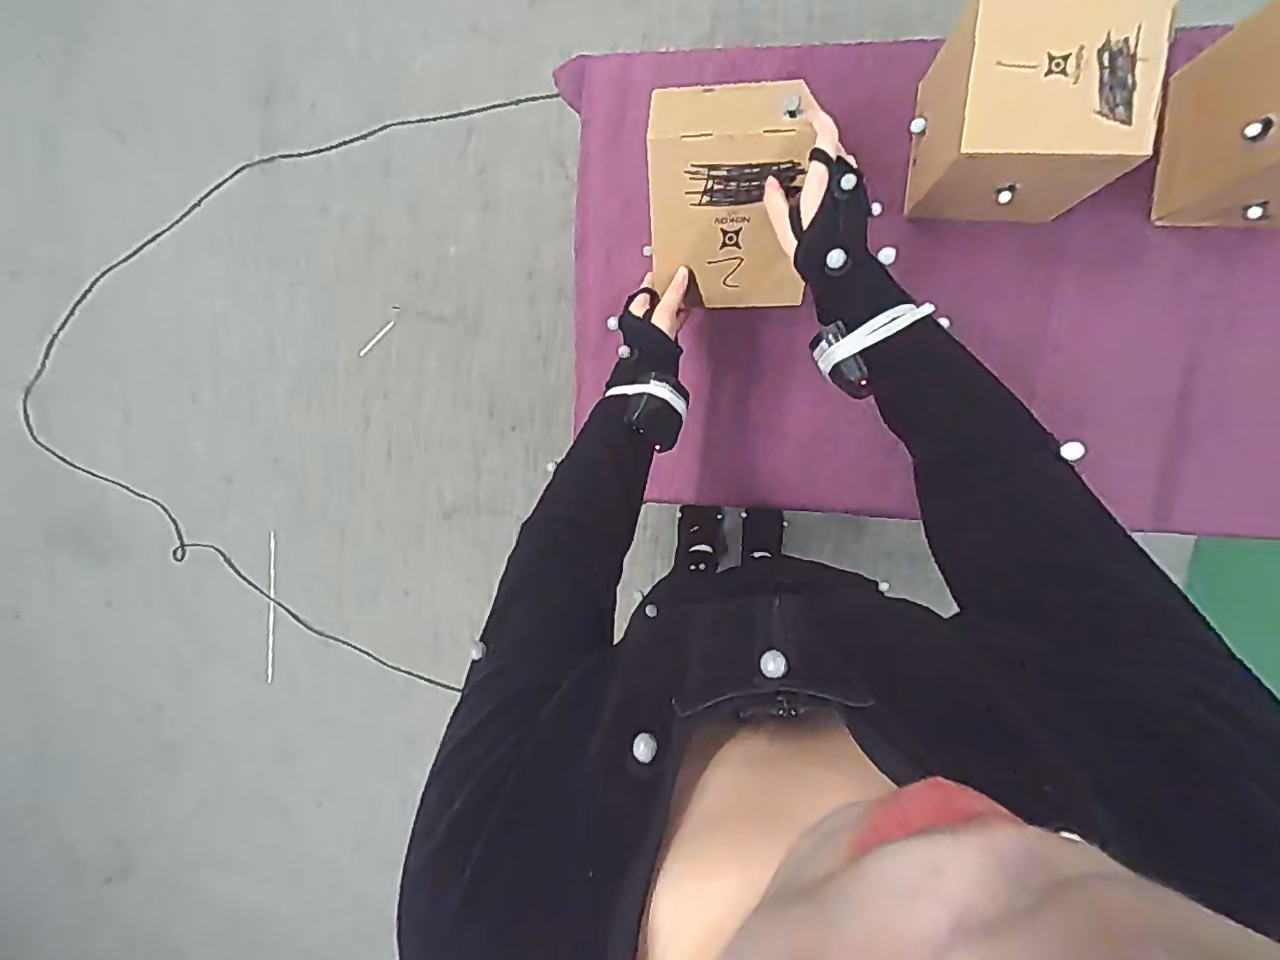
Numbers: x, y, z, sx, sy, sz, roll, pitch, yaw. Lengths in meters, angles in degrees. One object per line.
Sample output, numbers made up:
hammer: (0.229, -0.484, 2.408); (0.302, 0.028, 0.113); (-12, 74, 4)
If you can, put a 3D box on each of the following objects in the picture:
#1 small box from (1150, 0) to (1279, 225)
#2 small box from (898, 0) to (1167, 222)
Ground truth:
small box: (0.693, -0.389, 0.566); (0.168, 0.176, 0.179); (4, 96, 8)
small box: (0.413, -0.404, 0.602); (0.179, 0.176, 0.168); (5, 95, 8)
